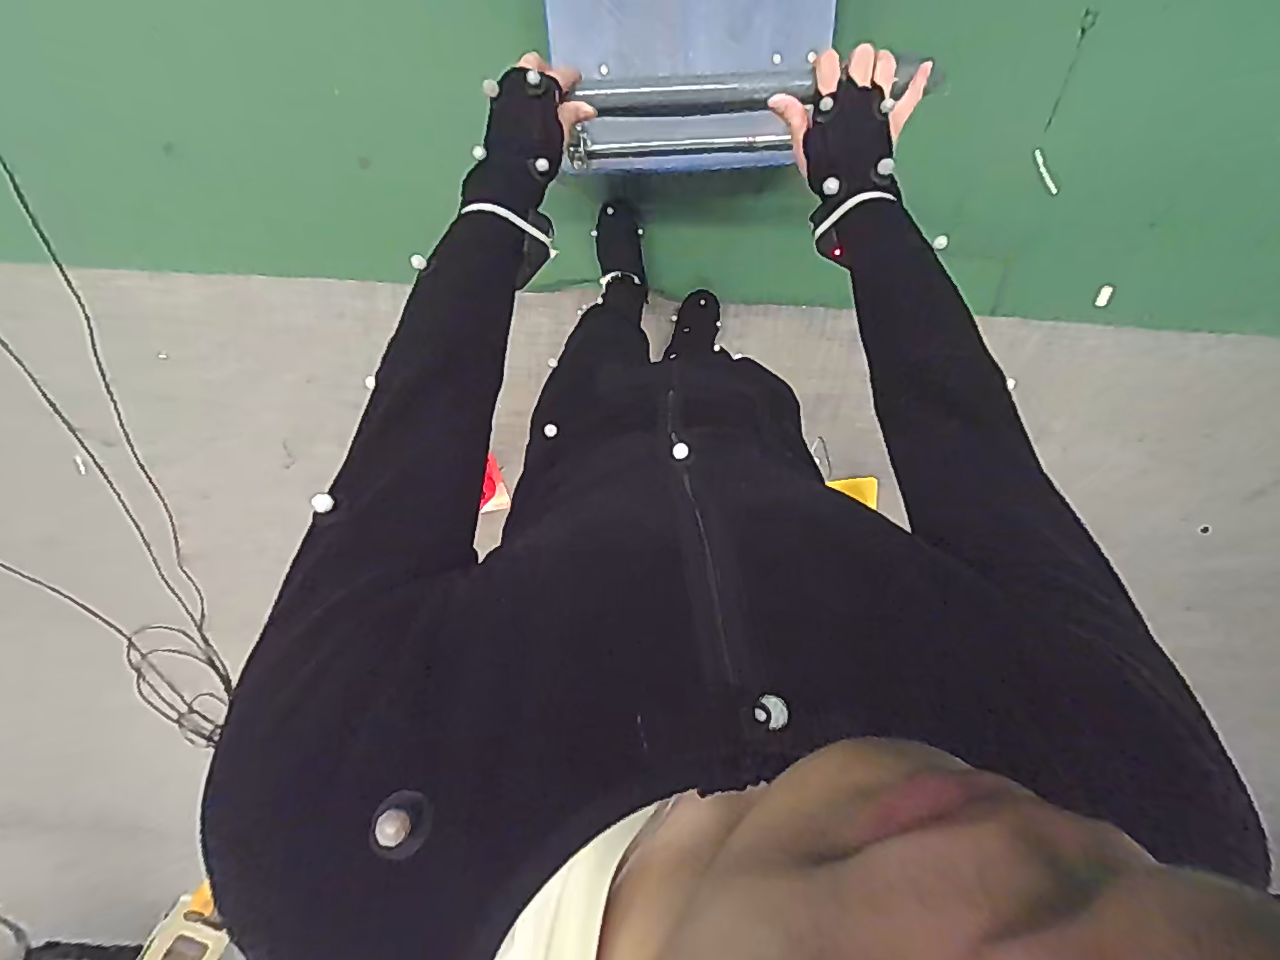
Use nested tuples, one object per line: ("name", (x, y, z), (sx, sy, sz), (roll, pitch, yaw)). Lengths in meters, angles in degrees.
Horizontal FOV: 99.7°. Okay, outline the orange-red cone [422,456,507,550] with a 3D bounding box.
("orange-red cone", (-0.547, 0.095, 1.573), (0.199, 0.360, 0.198), (-9, 114, 8))
